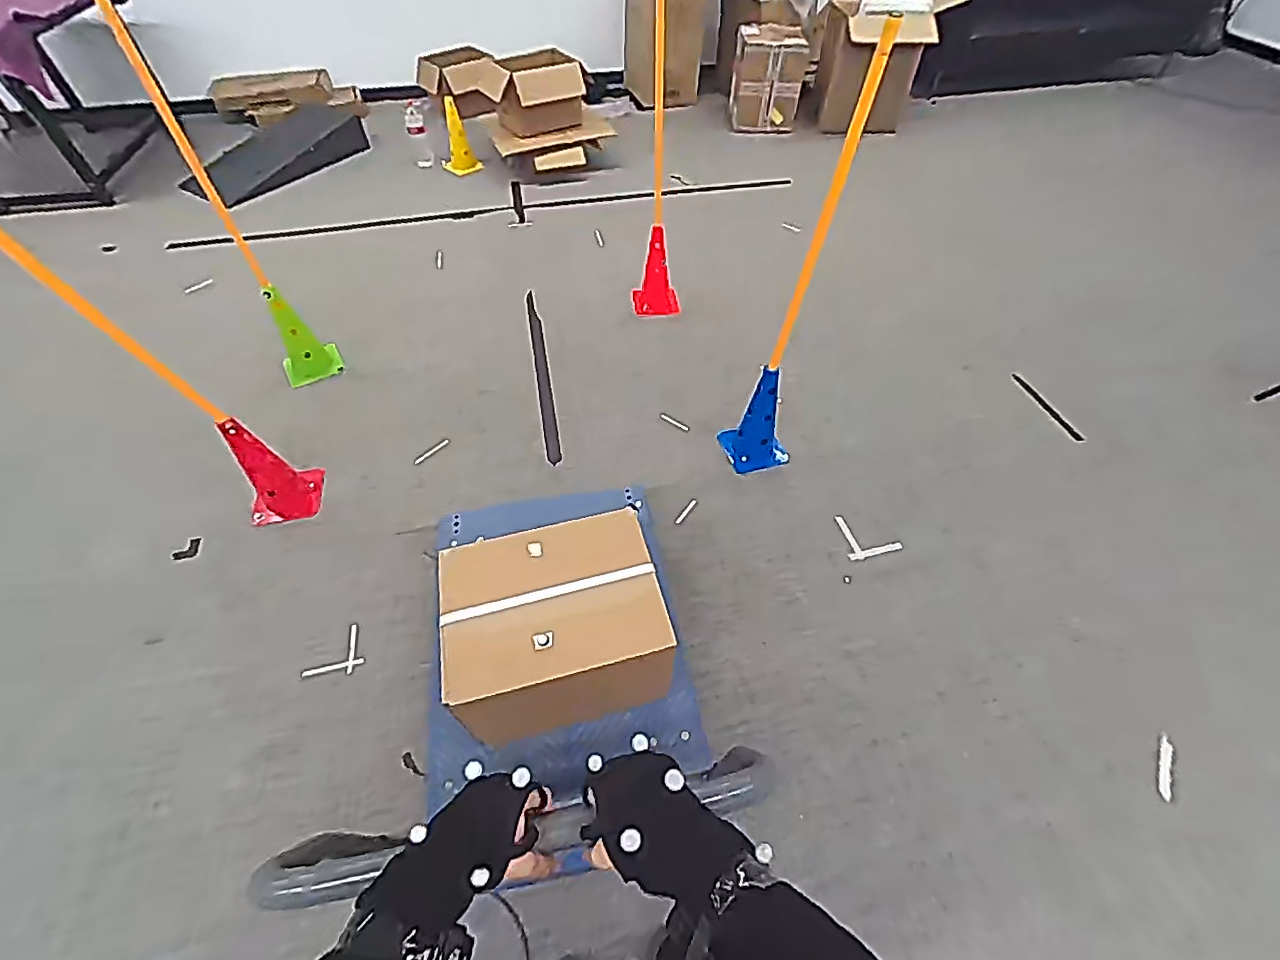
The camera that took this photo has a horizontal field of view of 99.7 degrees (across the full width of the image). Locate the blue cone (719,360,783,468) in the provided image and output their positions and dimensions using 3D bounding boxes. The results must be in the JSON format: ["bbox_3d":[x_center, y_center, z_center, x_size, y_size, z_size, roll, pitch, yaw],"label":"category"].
[{"bbox_3d":[0.390,-0.227,1.765,0.193,0.380,0.192,-13,52,-11],"label":"blue cone"}]

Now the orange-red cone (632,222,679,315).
[{"bbox_3d":[0.070,-0.907,2.280,0.199,0.360,0.198,-4,53,-5],"label":"orange-red cone"}]
